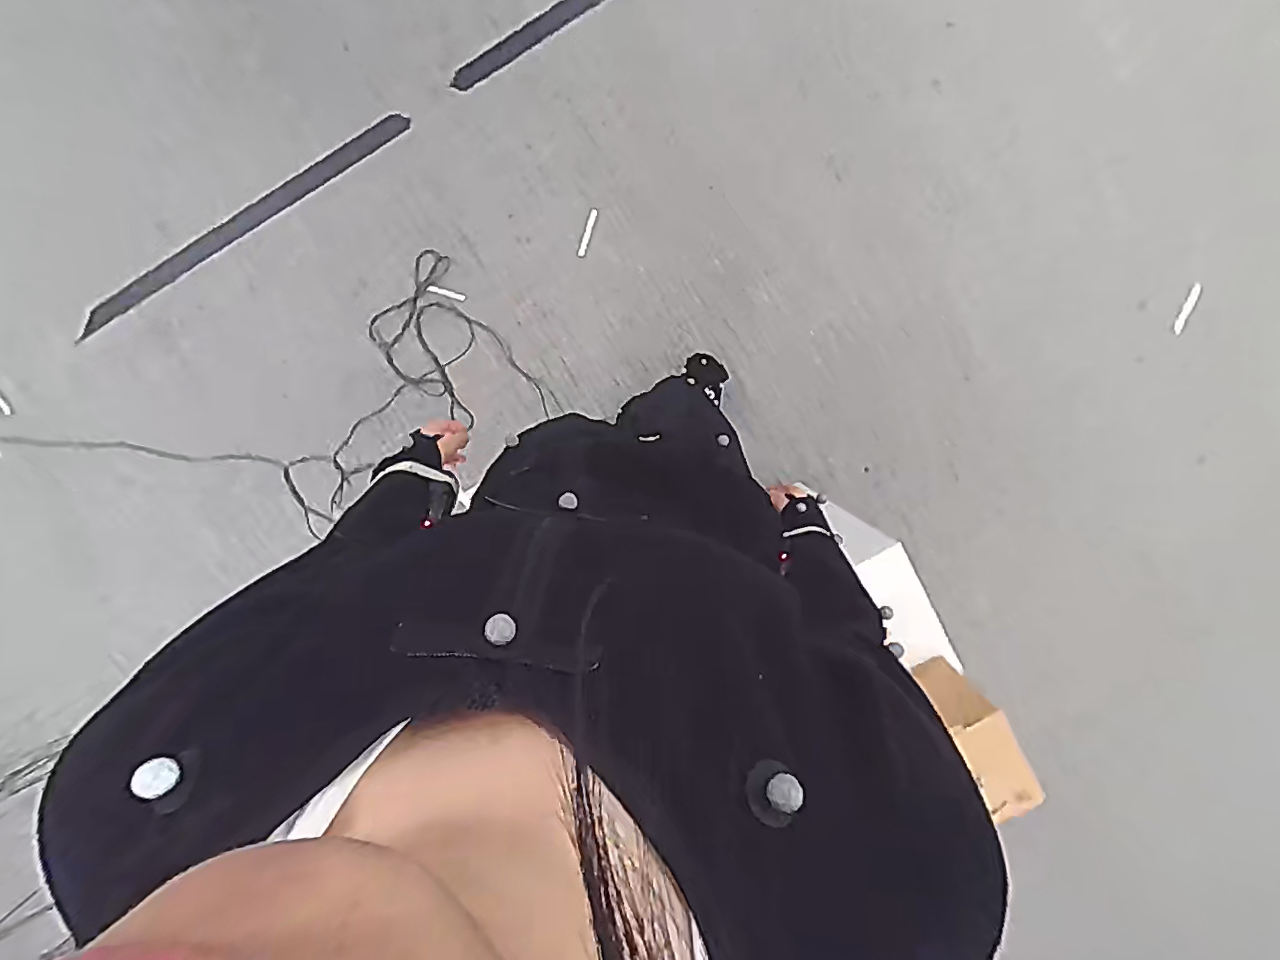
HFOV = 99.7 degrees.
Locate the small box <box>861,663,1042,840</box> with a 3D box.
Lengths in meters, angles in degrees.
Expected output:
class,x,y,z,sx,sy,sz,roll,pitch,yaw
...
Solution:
class,x,y,z,sx,sy,sz,roll,pitch,yaw
small box,0.495,0.428,0.889,0.168,0.176,0.179,-28,98,6
